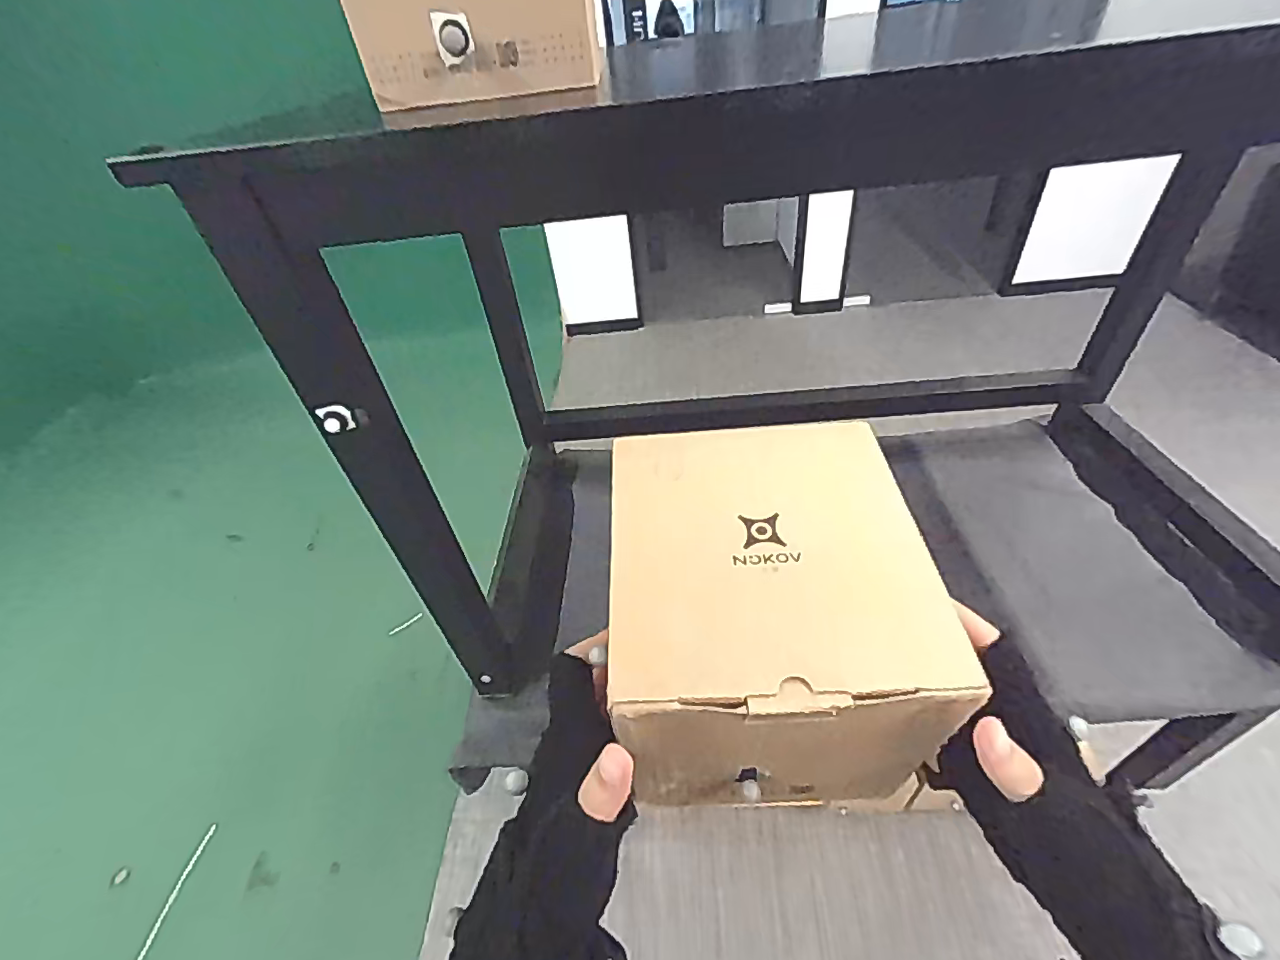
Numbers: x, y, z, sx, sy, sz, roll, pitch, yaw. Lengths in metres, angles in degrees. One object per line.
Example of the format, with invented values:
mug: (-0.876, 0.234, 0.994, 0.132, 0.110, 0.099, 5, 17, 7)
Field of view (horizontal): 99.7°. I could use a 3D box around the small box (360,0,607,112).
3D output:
small box: (-0.120, -0.400, 0.418, 0.168, 0.176, 0.179, -7, 41, 2)
